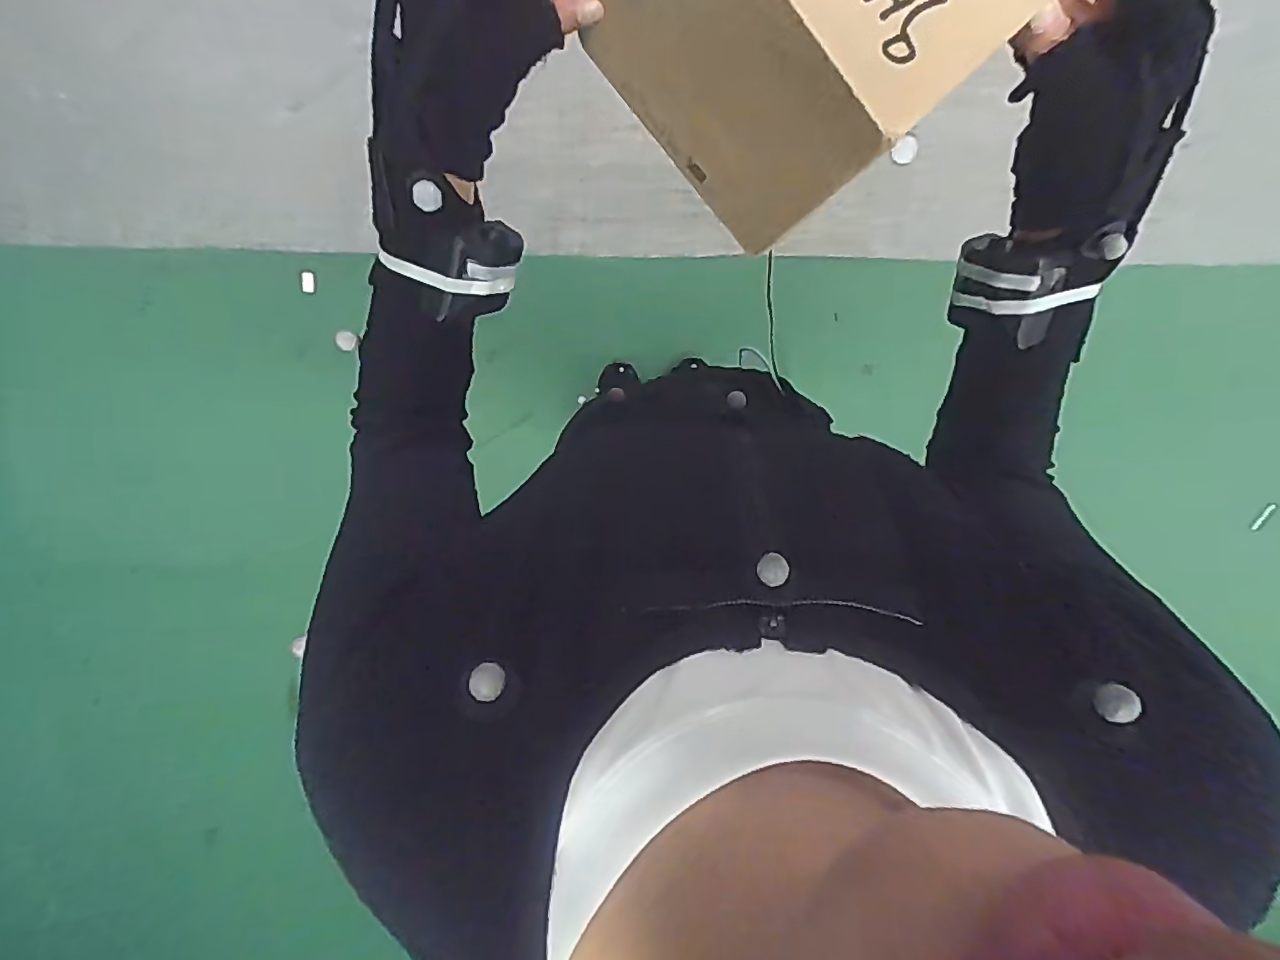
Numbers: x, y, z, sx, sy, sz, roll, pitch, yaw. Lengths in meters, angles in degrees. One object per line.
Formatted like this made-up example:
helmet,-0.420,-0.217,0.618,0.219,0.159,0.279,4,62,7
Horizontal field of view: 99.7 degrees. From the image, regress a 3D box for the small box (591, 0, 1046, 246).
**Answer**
small box,0.087,-0.246,0.249,0.179,0.176,0.168,-42,100,3
